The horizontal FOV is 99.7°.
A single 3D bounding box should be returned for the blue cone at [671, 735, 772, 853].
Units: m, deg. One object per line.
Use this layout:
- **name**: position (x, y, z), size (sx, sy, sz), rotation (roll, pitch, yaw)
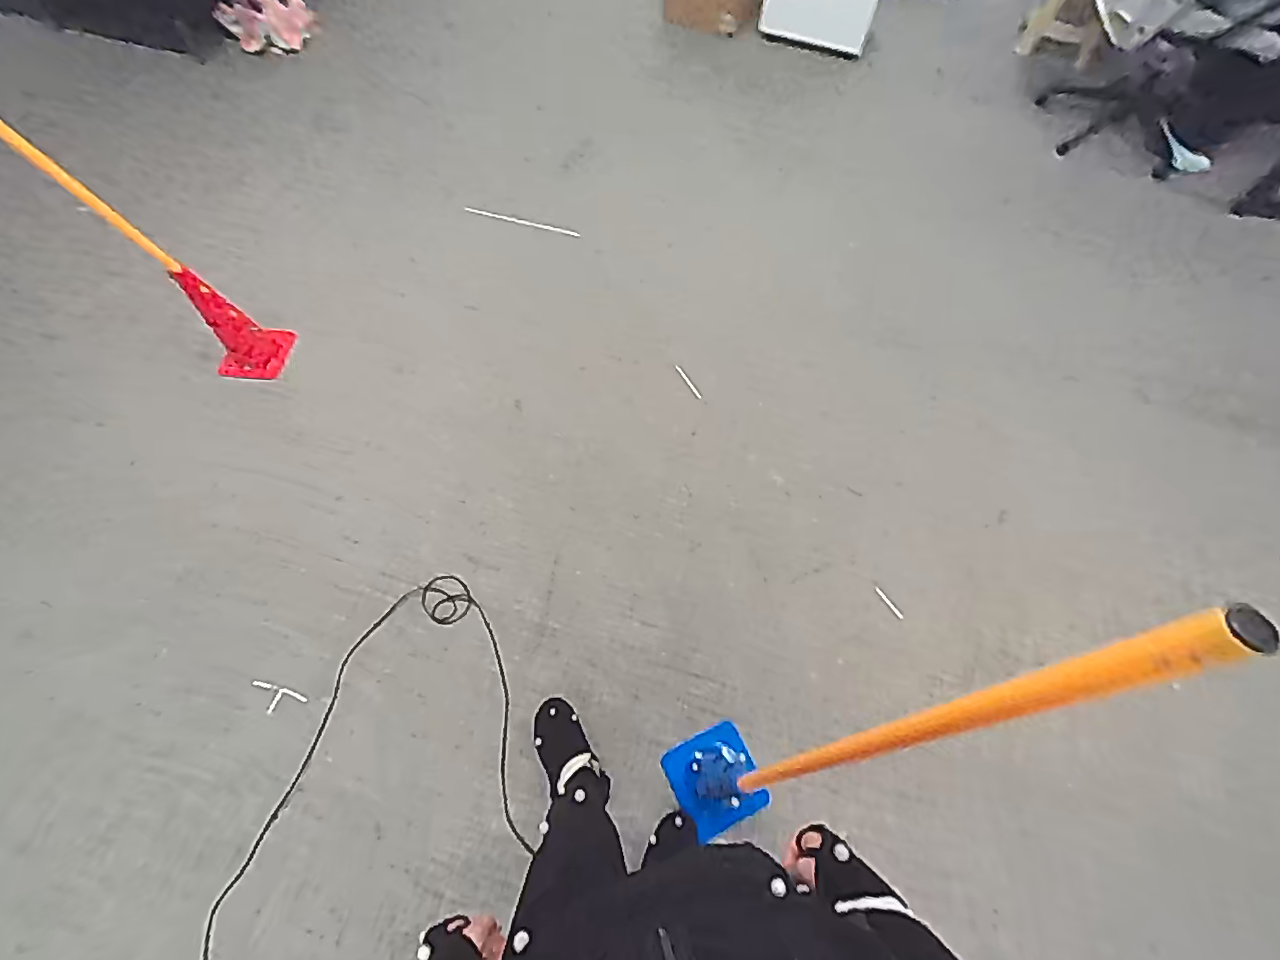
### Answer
- **blue cone**: position (0.187, 0.624, 1.079), size (0.193, 0.380, 0.192), rotation (-24, 66, -14)
